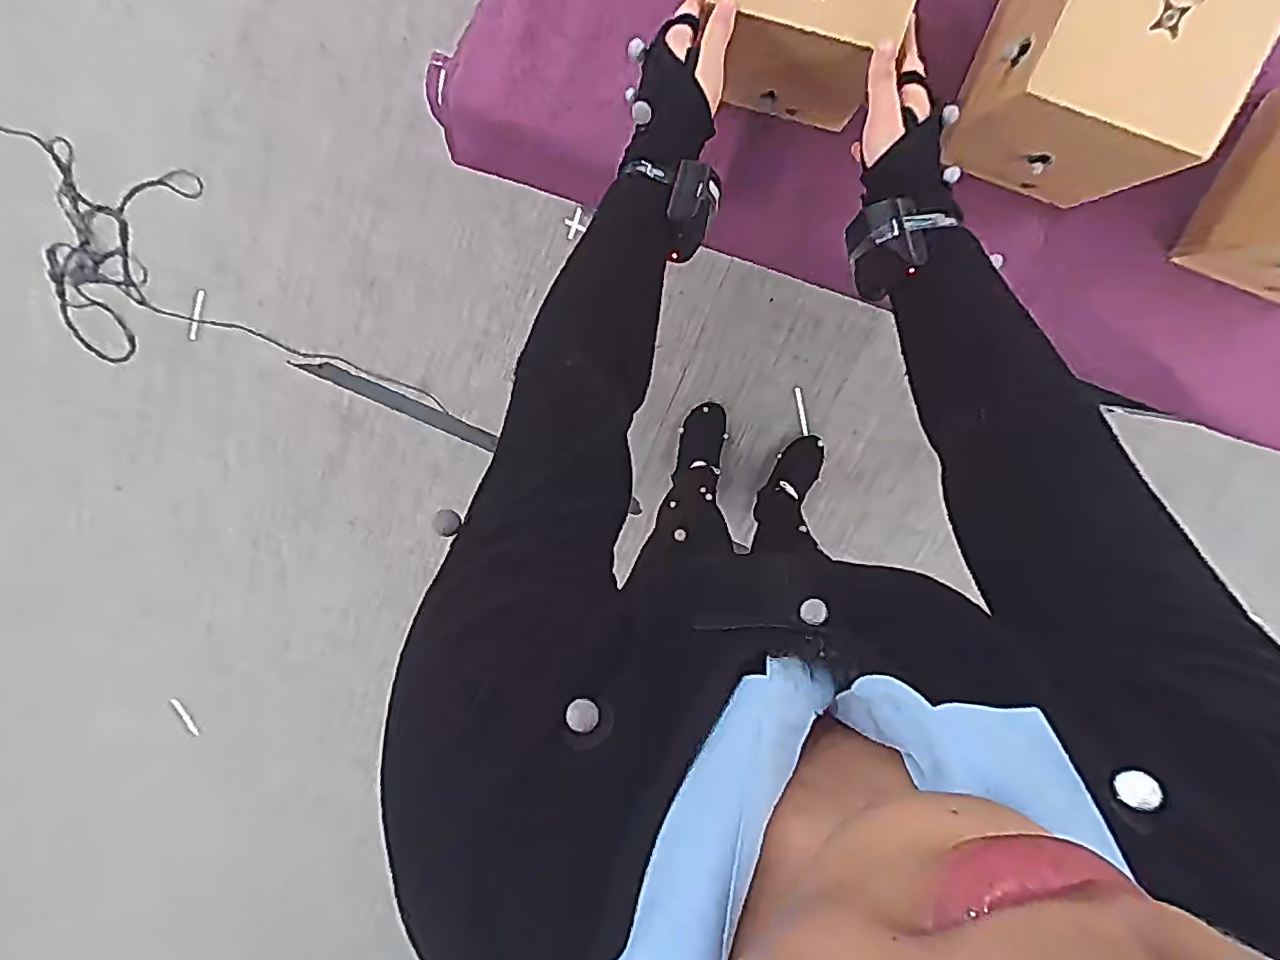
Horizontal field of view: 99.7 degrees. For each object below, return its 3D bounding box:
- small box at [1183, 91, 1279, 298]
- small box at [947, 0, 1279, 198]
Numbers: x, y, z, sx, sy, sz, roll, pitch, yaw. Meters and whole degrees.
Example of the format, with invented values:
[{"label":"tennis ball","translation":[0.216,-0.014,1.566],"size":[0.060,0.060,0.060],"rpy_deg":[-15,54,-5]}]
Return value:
[{"label":"small box","translation":[0.693,-0.280,0.512],"size":[0.168,0.176,0.179],"rpy_deg":[21,105,-1]},{"label":"small box","translation":[0.424,-0.392,0.501],"size":[0.168,0.176,0.179],"rpy_deg":[19,104,-2]}]
